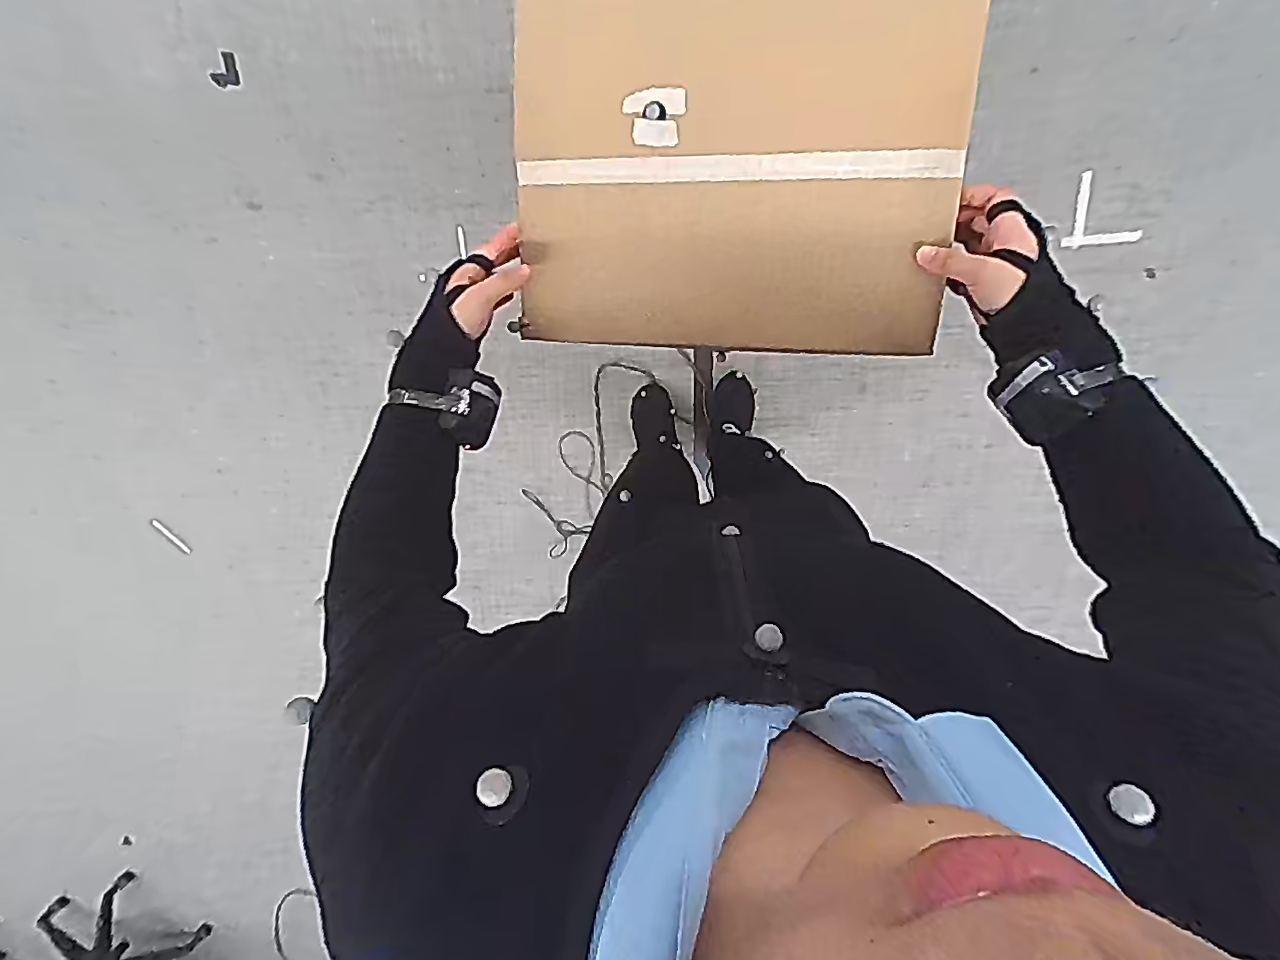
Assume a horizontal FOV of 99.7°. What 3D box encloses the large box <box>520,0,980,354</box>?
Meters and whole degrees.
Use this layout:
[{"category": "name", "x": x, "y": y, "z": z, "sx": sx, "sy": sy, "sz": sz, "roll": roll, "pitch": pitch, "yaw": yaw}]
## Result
[{"category": "large box", "x": 0.109, "y": -0.315, "z": 0.643, "sx": 0.408, "sy": 0.320, "sz": 0.320, "roll": 4, "pitch": 103, "yaw": 10}]
